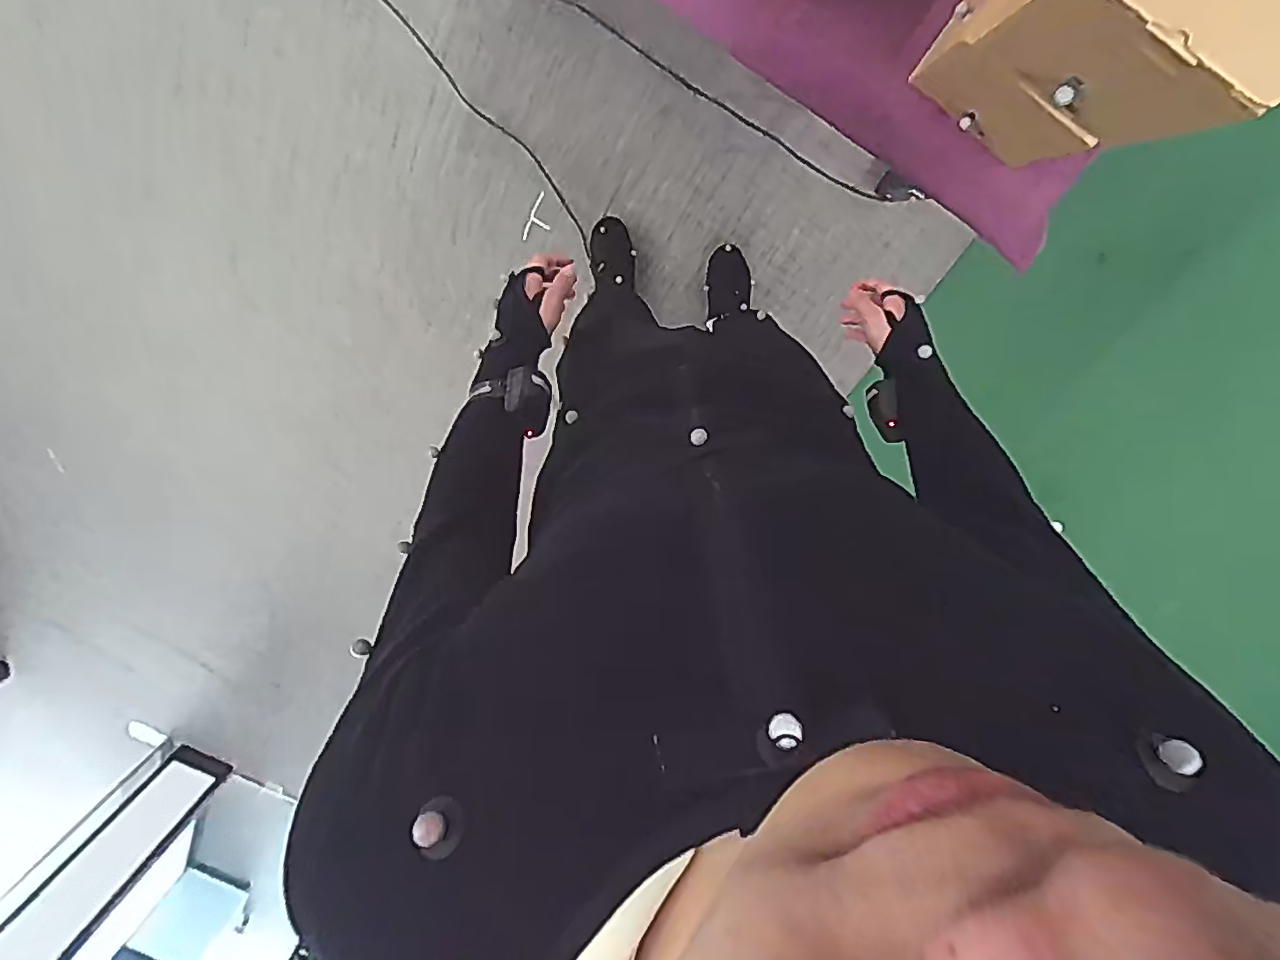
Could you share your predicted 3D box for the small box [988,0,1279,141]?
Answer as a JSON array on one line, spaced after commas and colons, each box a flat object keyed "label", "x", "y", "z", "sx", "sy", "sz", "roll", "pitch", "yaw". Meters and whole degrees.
[{"label": "small box", "x": 0.403, "y": -0.383, "z": 0.388, "sx": 0.168, "sy": 0.176, "sz": 0.179, "roll": 31, "pitch": 116, "yaw": -5}]
